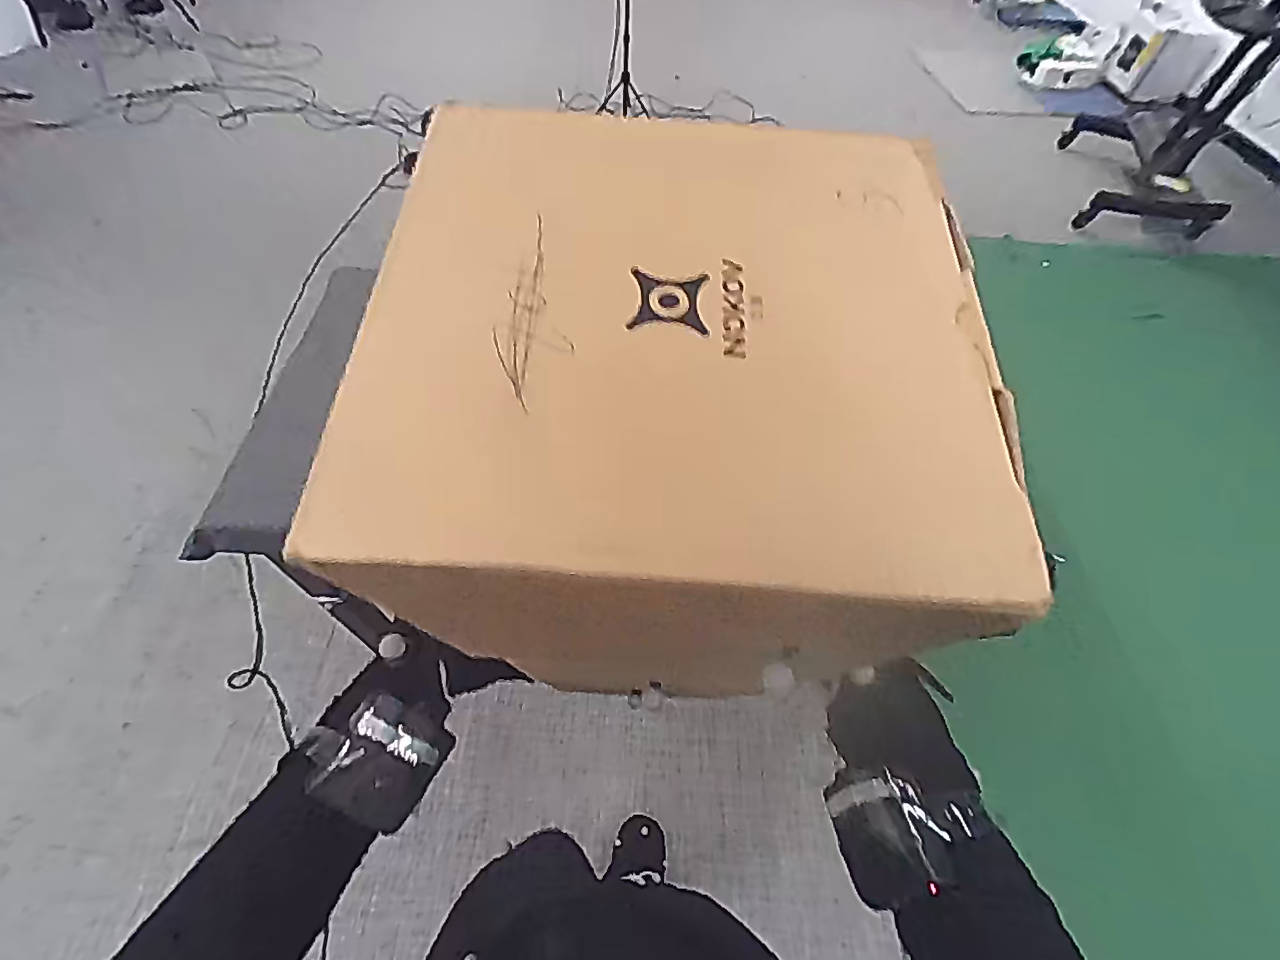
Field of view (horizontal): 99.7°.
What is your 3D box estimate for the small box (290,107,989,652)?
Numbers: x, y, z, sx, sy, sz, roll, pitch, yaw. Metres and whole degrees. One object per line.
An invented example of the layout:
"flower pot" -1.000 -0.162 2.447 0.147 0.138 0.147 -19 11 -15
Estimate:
"small box" 0.002 -0.022 0.237 0.179 0.176 0.168 3 65 0
